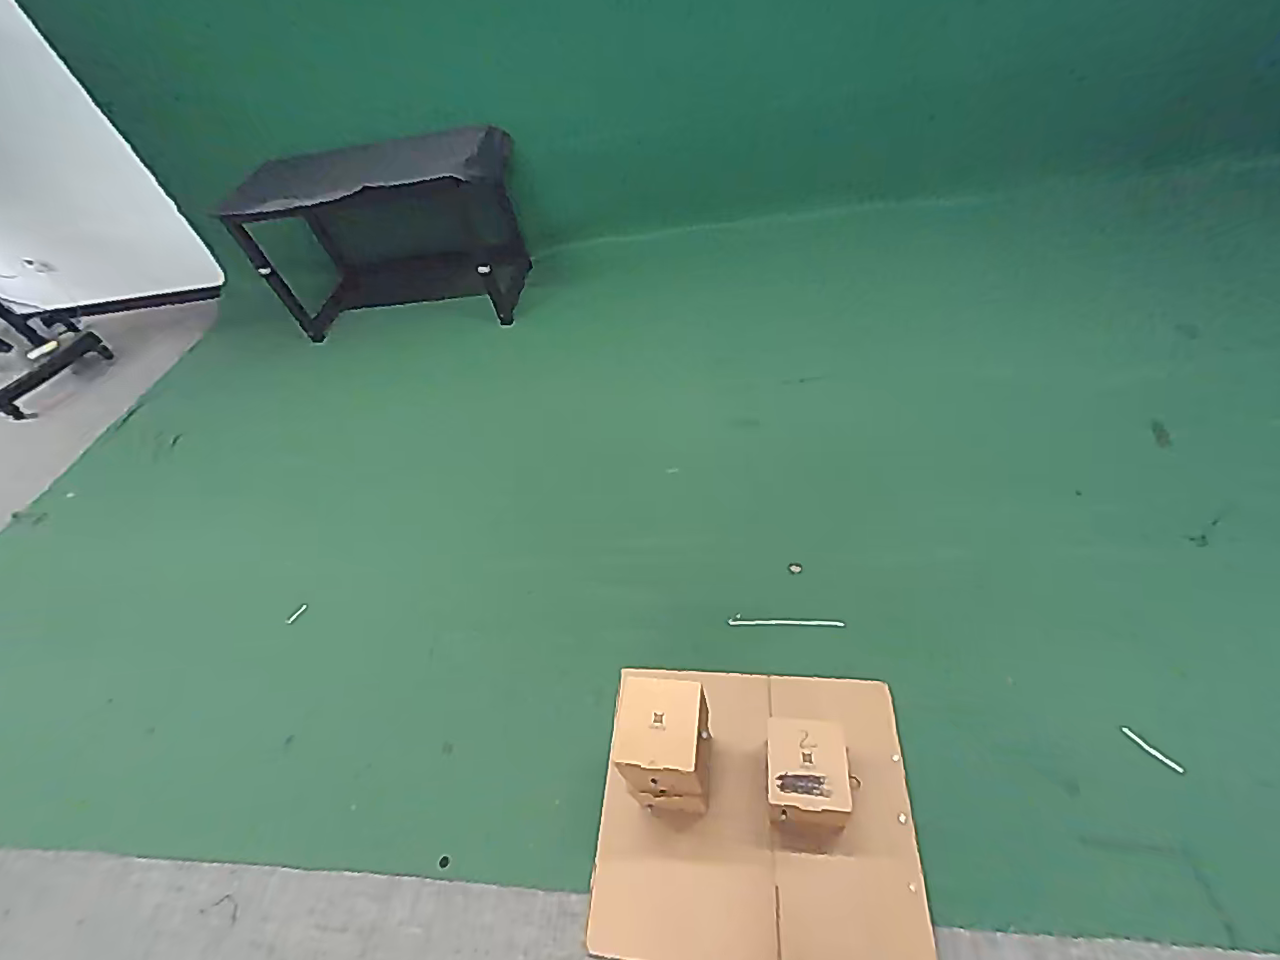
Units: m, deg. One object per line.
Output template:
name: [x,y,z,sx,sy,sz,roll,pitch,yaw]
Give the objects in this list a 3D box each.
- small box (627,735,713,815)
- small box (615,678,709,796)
small box: [0.078,0.661,1.259,0.168,0.176,0.179,-1,48,13]
small box: [0.056,0.545,1.147,0.168,0.176,0.179,0,49,14]
